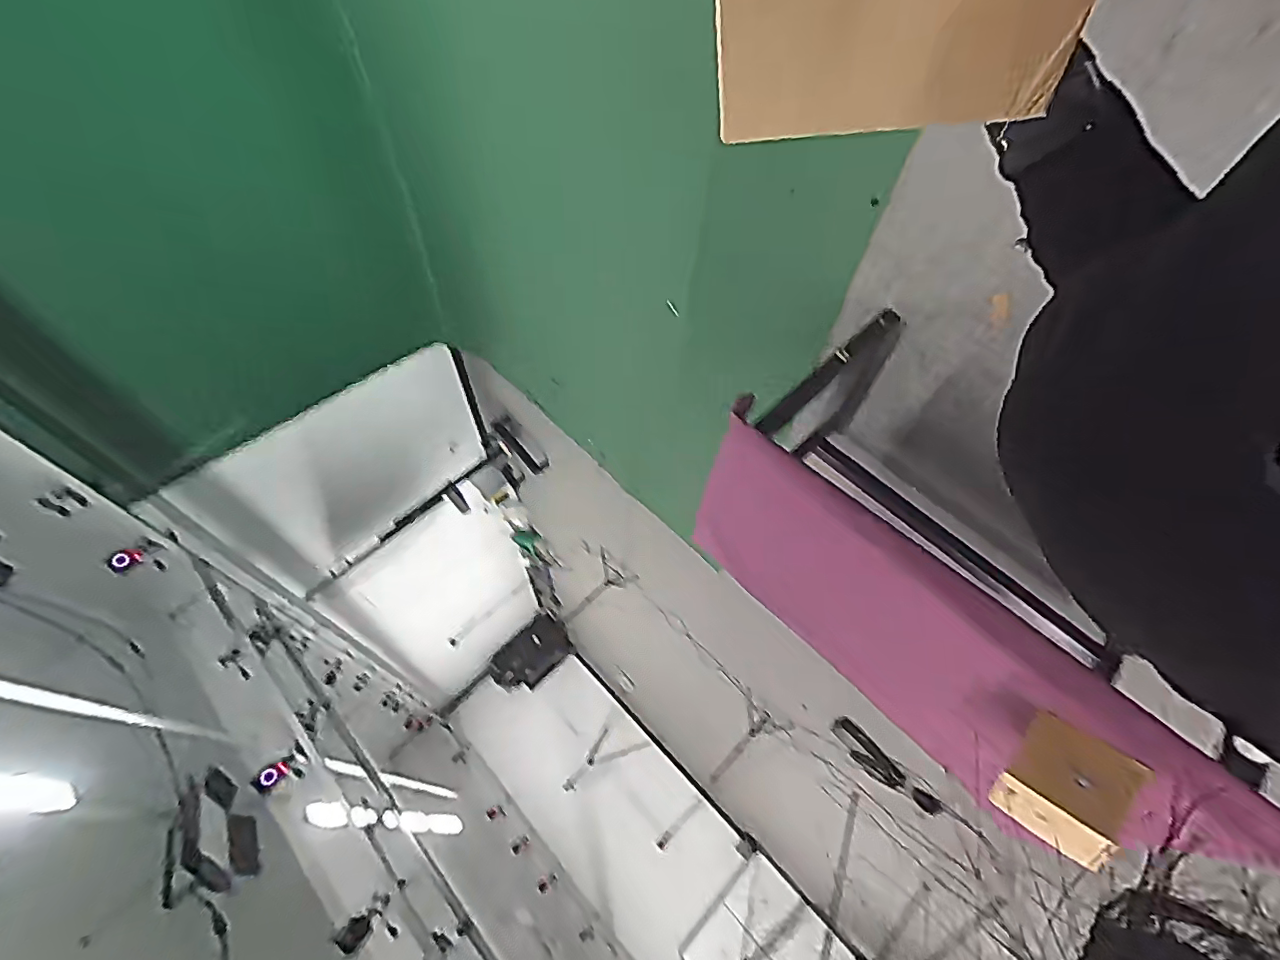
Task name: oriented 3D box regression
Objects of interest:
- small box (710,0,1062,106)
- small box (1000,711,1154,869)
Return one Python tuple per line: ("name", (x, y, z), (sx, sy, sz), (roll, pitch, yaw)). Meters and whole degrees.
("small box", (0.121, -0.317, 0.252), (0.168, 0.179, 0.176), (4, 152, 14))
("small box", (0.835, 0.588, 1.040), (0.179, 0.176, 0.168), (27, 147, 42))
